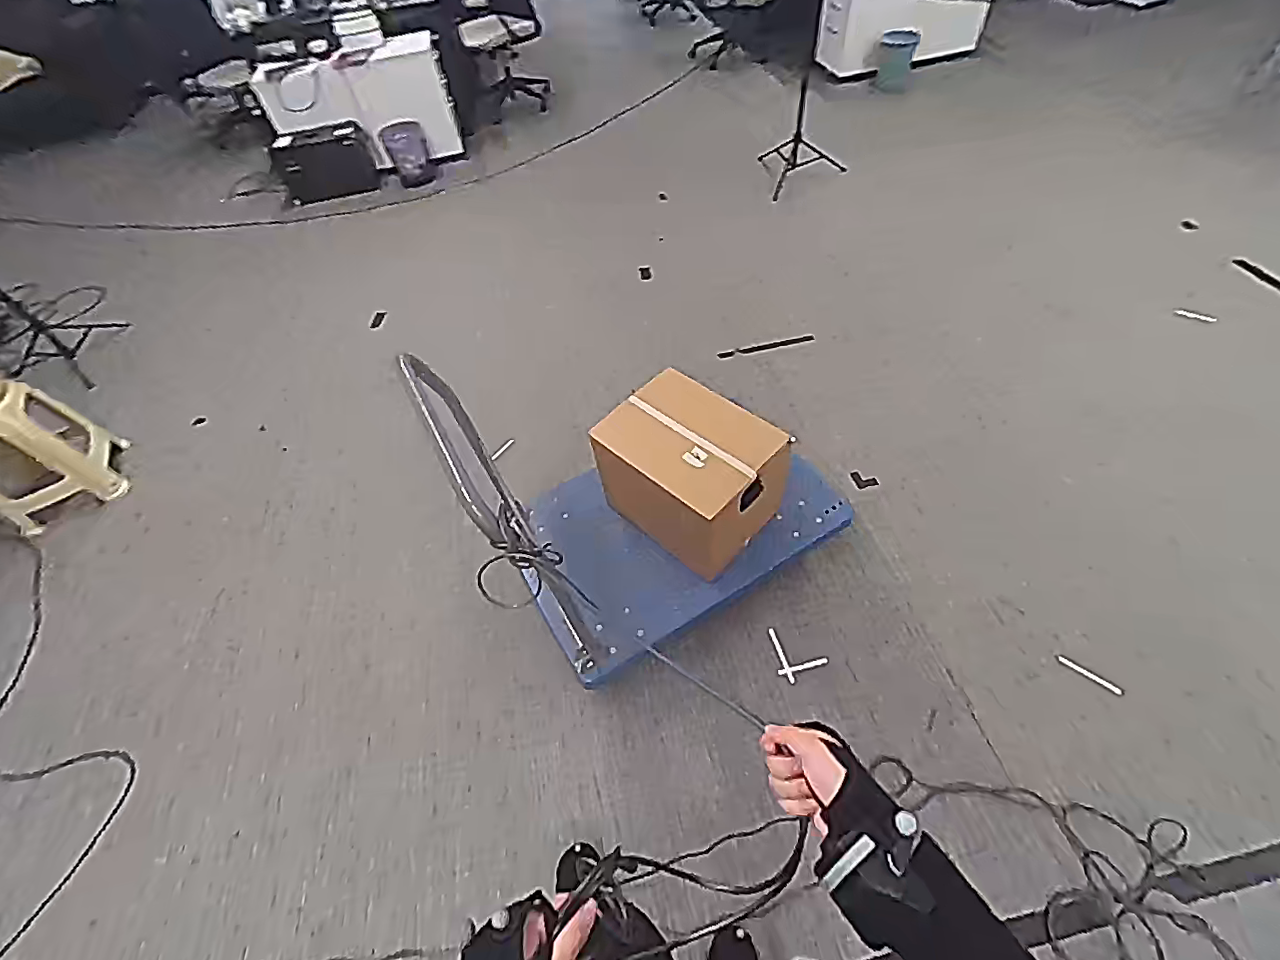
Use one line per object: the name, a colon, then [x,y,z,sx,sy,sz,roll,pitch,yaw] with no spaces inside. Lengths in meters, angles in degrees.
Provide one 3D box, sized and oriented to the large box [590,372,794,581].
large box: [0.130,-0.012,1.432,0.408,0.320,0.320,36,66,27]
